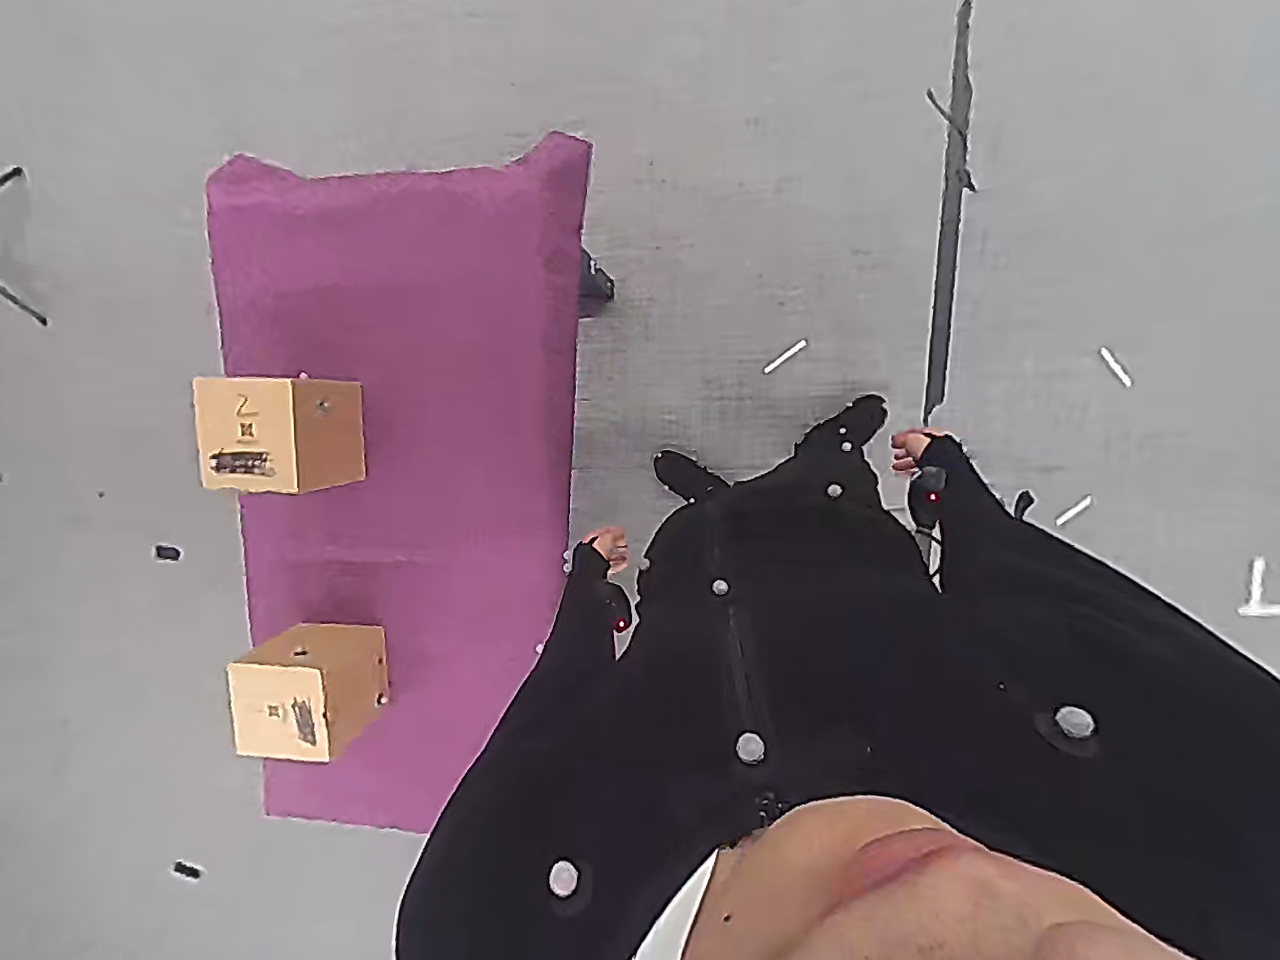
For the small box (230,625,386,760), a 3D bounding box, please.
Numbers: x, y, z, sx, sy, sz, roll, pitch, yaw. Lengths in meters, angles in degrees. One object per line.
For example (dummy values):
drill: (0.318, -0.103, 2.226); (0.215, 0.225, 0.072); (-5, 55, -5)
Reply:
small box: (-0.578, 0.370, 0.969); (0.179, 0.176, 0.168); (0, 97, 8)
